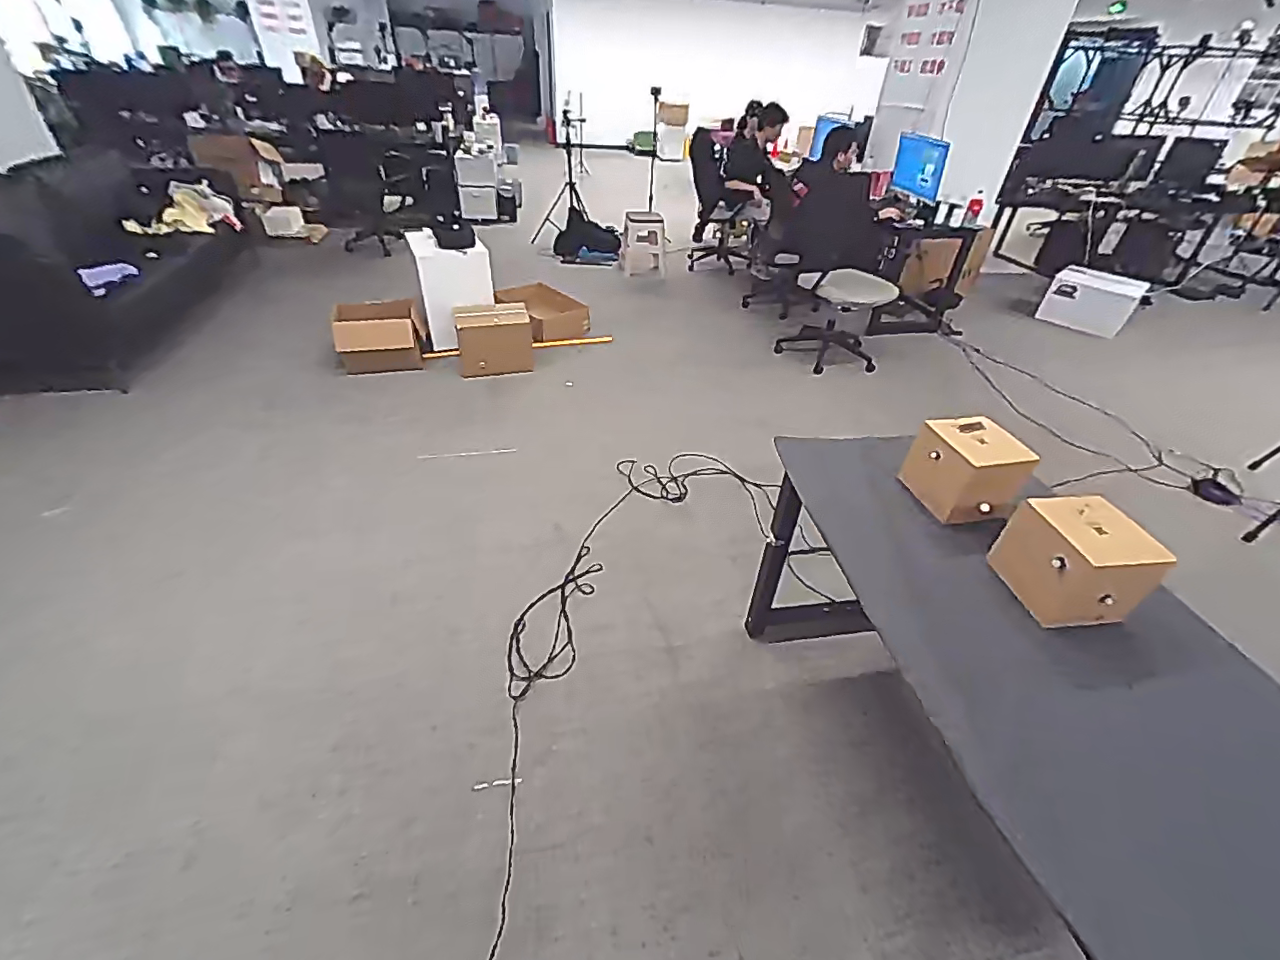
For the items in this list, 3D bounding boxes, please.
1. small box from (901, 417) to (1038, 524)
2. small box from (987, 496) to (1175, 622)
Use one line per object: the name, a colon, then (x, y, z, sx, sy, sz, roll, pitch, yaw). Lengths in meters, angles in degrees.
small box: (0.730, -0.023, 1.224, 0.168, 0.176, 0.179, -6, 40, -12)
small box: (0.802, 0.150, 1.006, 0.168, 0.176, 0.179, -2, 38, -7)
